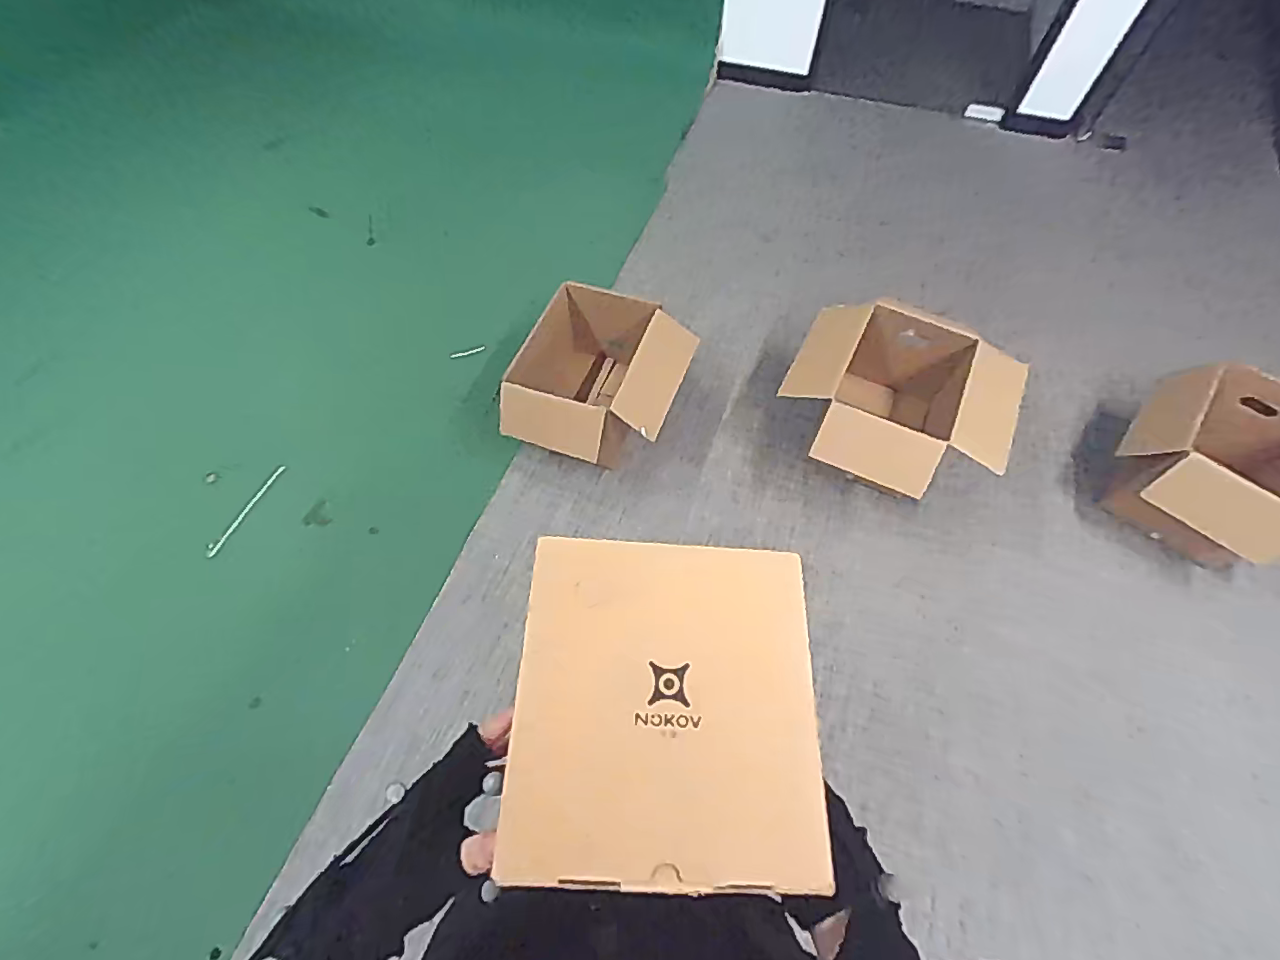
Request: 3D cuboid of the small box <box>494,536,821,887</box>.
[{"bbox_3d":[0.007,0.154,0.373,0.168,0.176,0.179,4,64,-3],"label":"small box"}]
